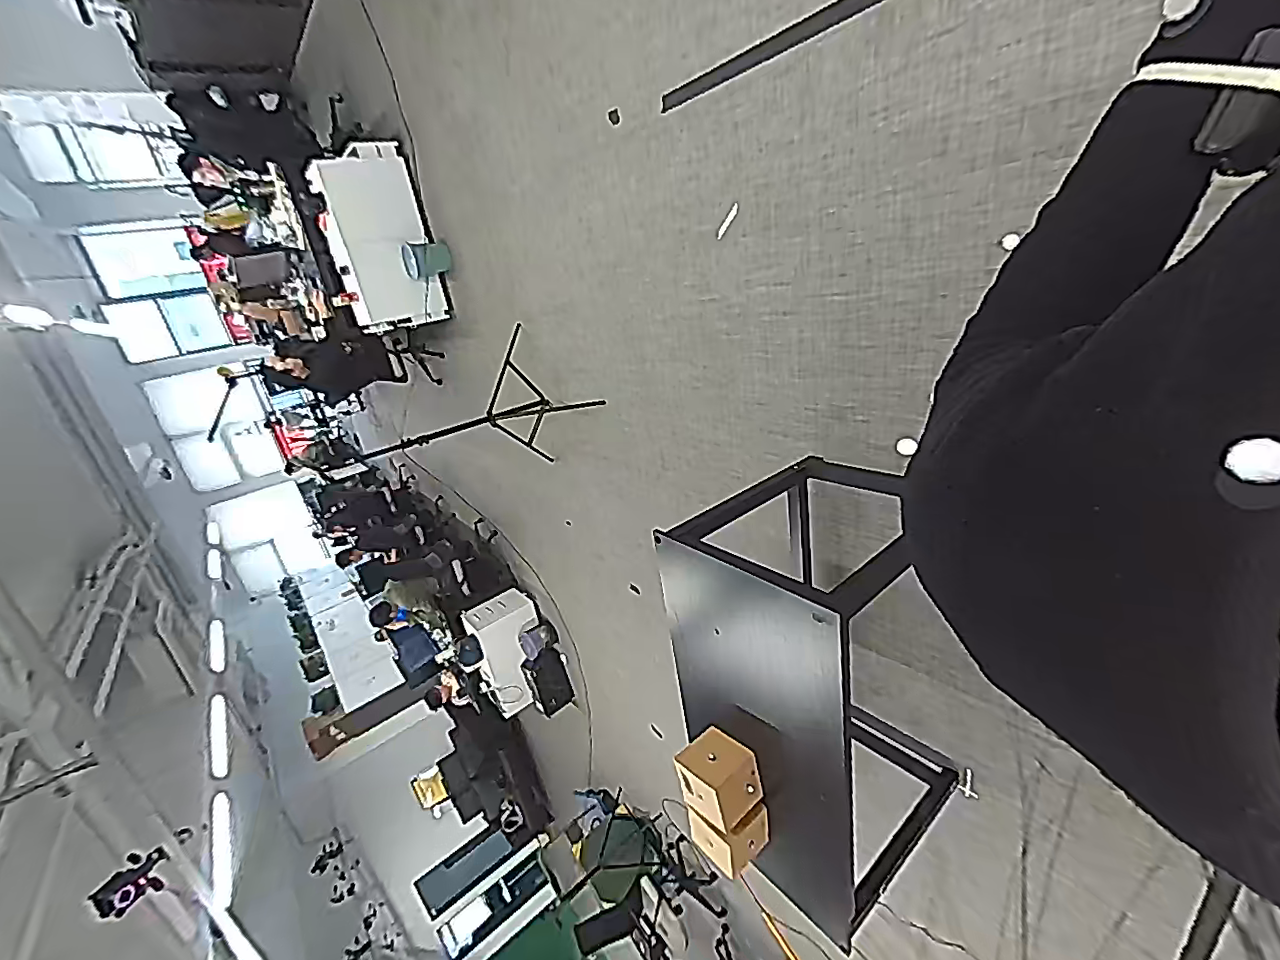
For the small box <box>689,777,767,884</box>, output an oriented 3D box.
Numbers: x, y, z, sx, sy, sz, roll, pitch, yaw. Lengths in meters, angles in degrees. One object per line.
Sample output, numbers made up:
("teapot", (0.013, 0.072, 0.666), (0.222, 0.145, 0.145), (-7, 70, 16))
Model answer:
("small box", (0.273, 1.056, 1.645), (0.179, 0.176, 0.168), (22, 127, 49))
